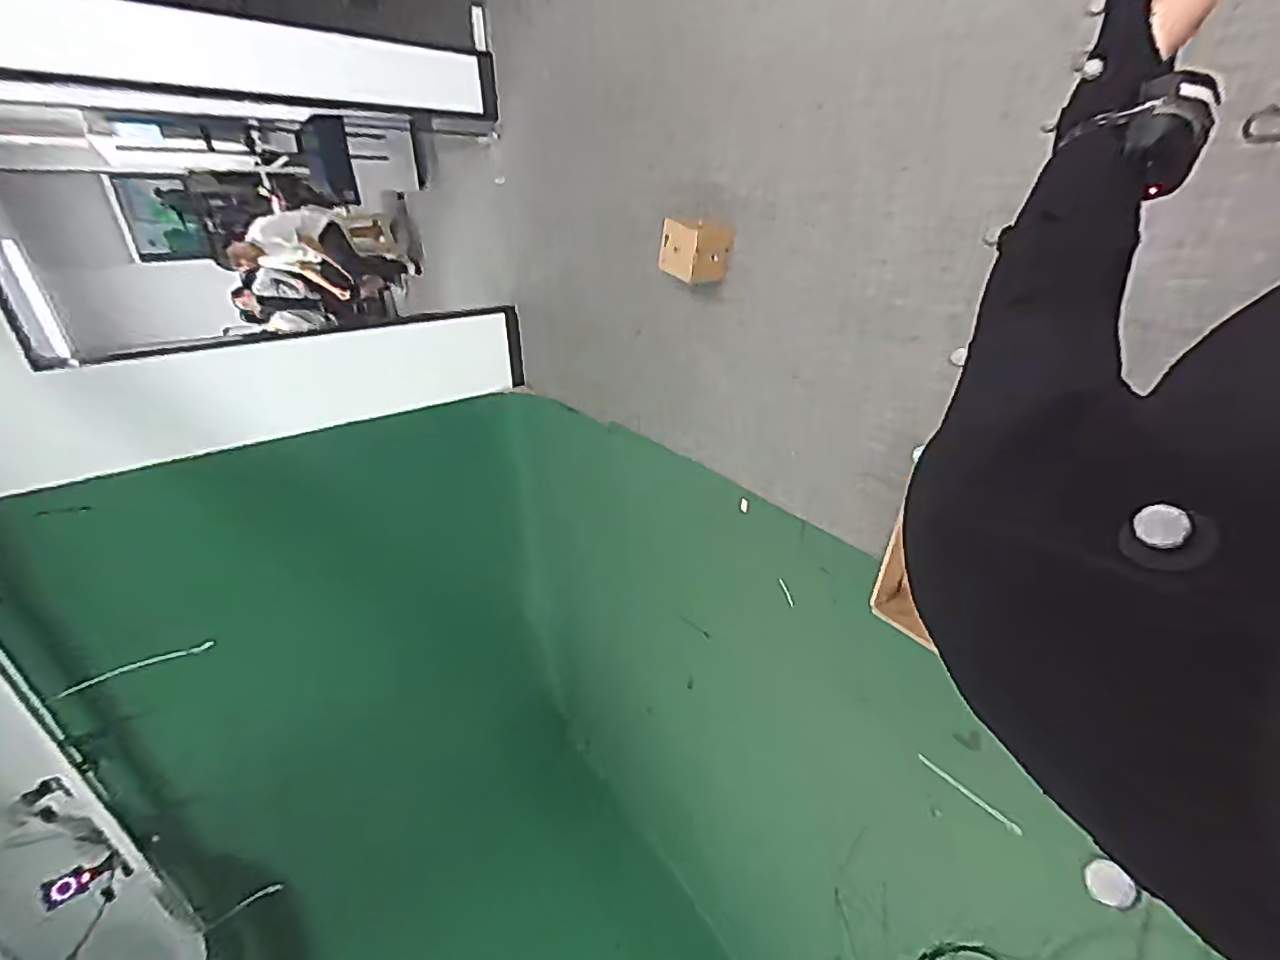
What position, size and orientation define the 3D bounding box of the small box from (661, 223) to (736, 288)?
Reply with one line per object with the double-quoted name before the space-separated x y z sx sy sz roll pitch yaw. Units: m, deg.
"small box" 0.203 -0.781 1.865 0.179 0.176 0.168 42 137 35
